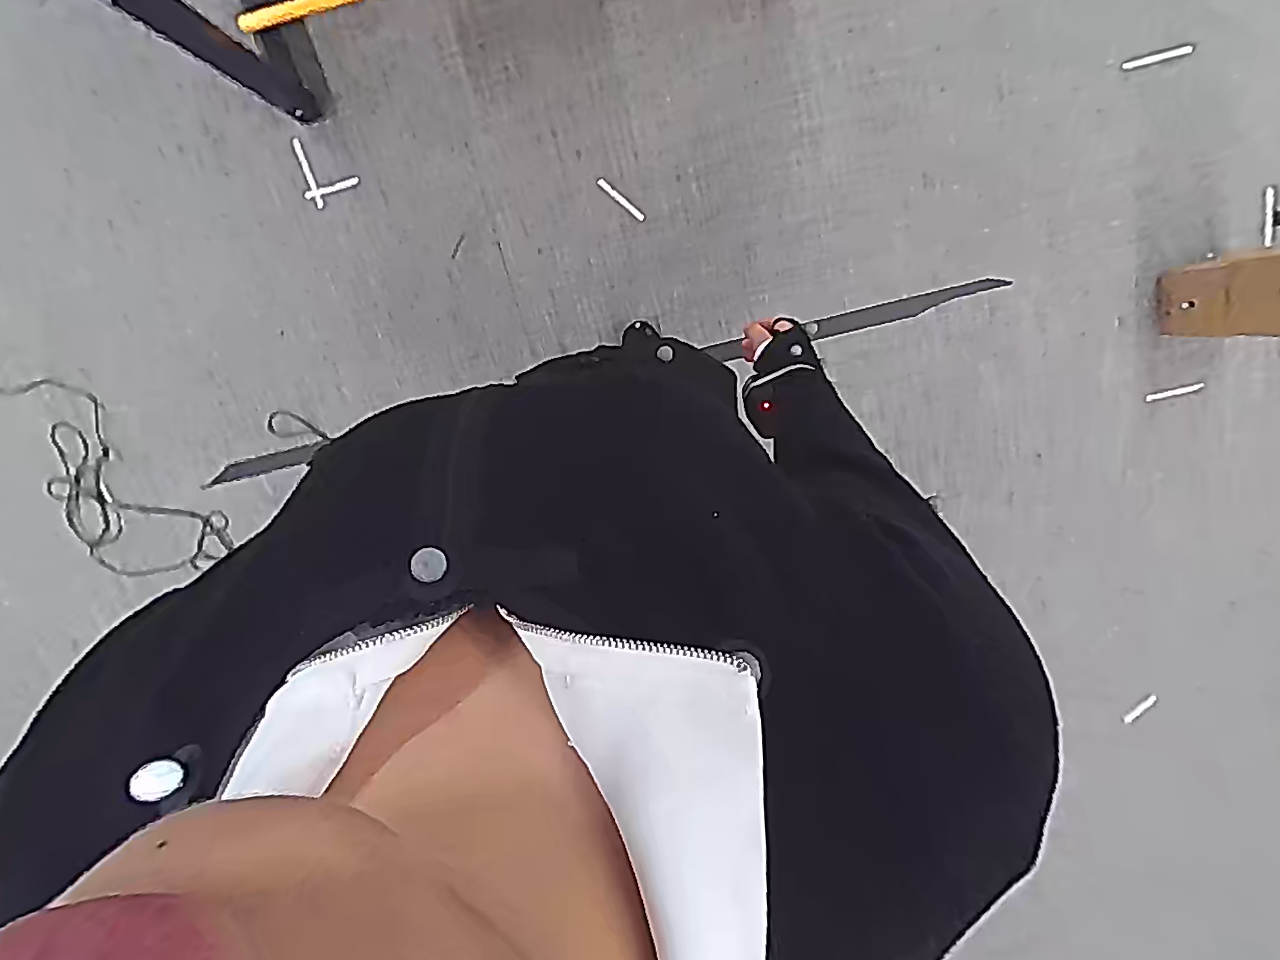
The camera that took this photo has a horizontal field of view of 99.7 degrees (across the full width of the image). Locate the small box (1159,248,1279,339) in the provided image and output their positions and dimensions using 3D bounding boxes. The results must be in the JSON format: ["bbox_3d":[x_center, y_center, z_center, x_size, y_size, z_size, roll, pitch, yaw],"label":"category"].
[{"bbox_3d":[1.410,-0.444,1.307,0.179,0.176,0.168,-16,105,5],"label":"small box"}]

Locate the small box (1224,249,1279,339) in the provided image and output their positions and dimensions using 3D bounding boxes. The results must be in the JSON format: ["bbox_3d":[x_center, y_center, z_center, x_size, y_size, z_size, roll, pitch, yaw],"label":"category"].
[{"bbox_3d":[1.406,-0.404,1.145,0.168,0.176,0.179,-17,106,4],"label":"small box"}]
